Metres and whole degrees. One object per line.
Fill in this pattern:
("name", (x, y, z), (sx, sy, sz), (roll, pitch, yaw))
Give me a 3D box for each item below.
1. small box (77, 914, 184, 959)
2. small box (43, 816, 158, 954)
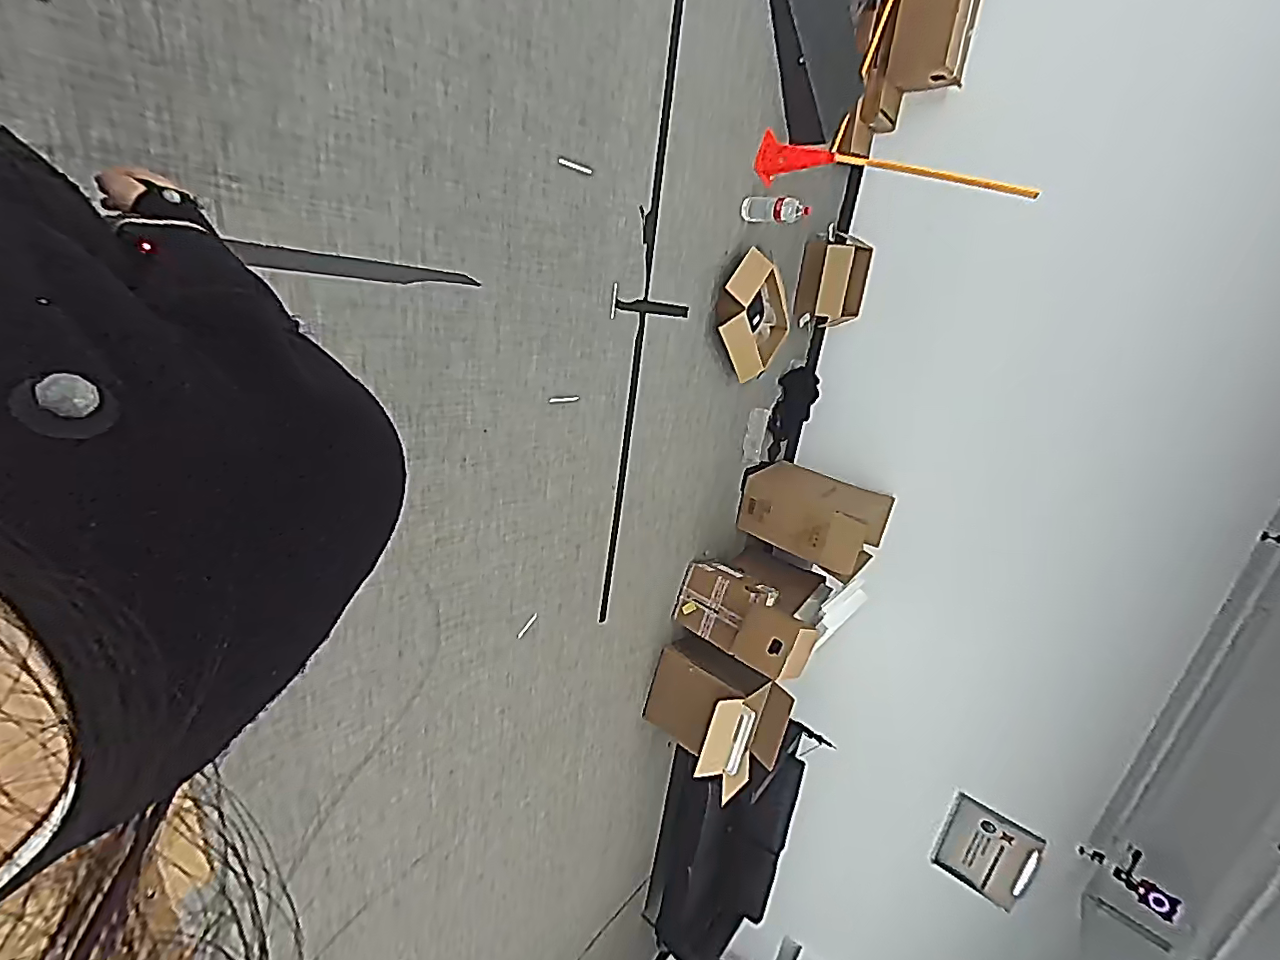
("small box", (-1.041, 1.059, 1.108), (0.168, 0.176, 0.179), (-15, 119, -49))
("small box", (-1.291, 0.952, 1.296), (0.168, 0.176, 0.179), (-12, 118, -49))
